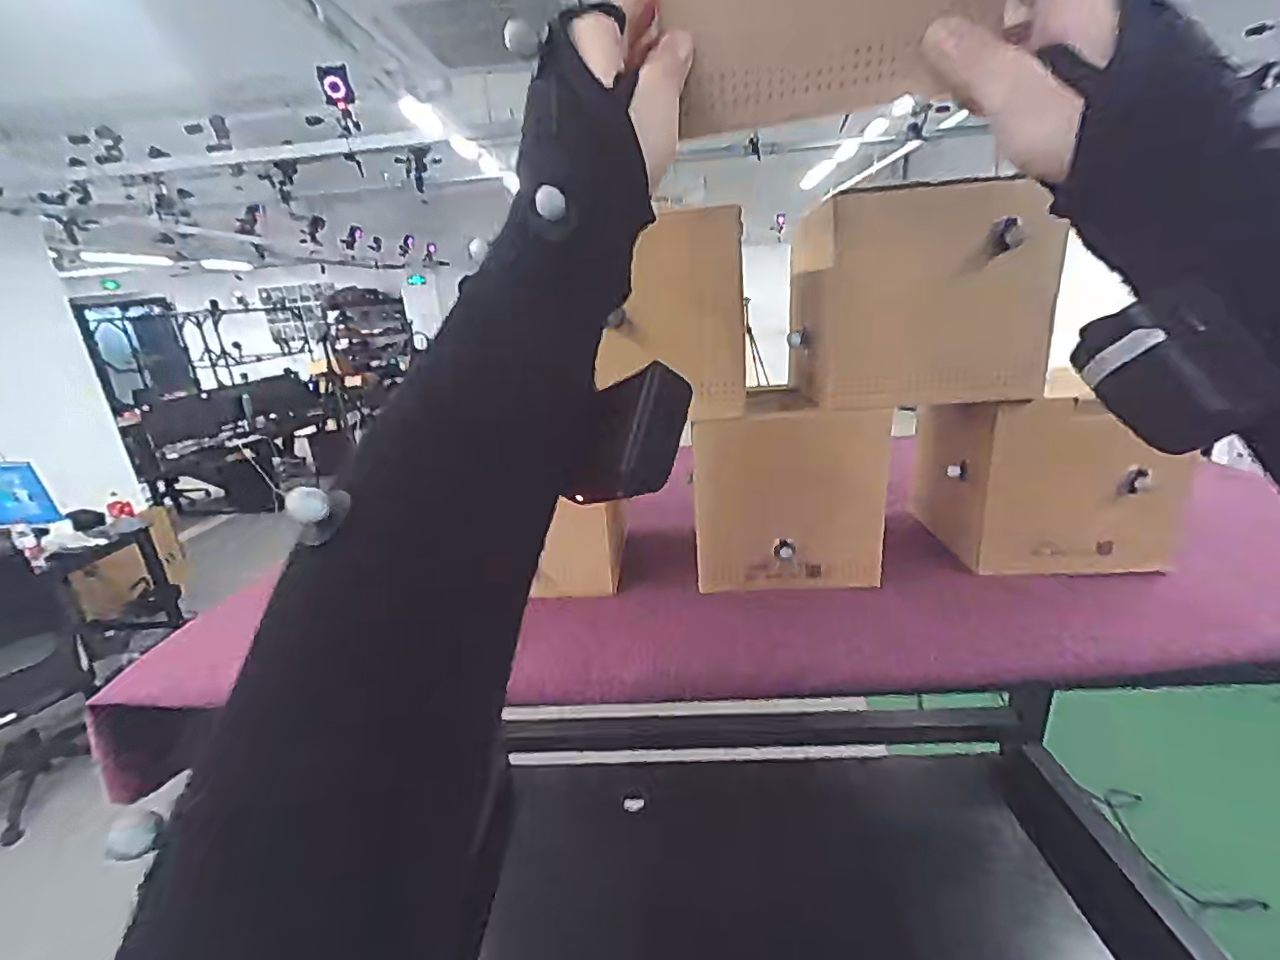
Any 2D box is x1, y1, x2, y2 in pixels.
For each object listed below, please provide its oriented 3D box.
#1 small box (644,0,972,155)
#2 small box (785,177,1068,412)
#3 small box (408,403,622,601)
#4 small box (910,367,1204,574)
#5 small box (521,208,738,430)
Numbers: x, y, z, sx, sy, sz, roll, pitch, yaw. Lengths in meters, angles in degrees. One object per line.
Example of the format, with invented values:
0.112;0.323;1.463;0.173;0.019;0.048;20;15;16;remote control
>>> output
0.093;-0.311;0.337;0.179;0.176;0.168;-4;31;9;small box
0.236;-0.162;0.497;0.179;0.176;0.168;-3;17;5;small box
-0.114;0.017;0.577;0.179;0.176;0.168;-2;18;4;small box
0.388;-0.014;0.543;0.168;0.176;0.179;-2;17;8;small box
0.002;-0.145;0.516;0.168;0.176;0.179;-4;18;6;small box
